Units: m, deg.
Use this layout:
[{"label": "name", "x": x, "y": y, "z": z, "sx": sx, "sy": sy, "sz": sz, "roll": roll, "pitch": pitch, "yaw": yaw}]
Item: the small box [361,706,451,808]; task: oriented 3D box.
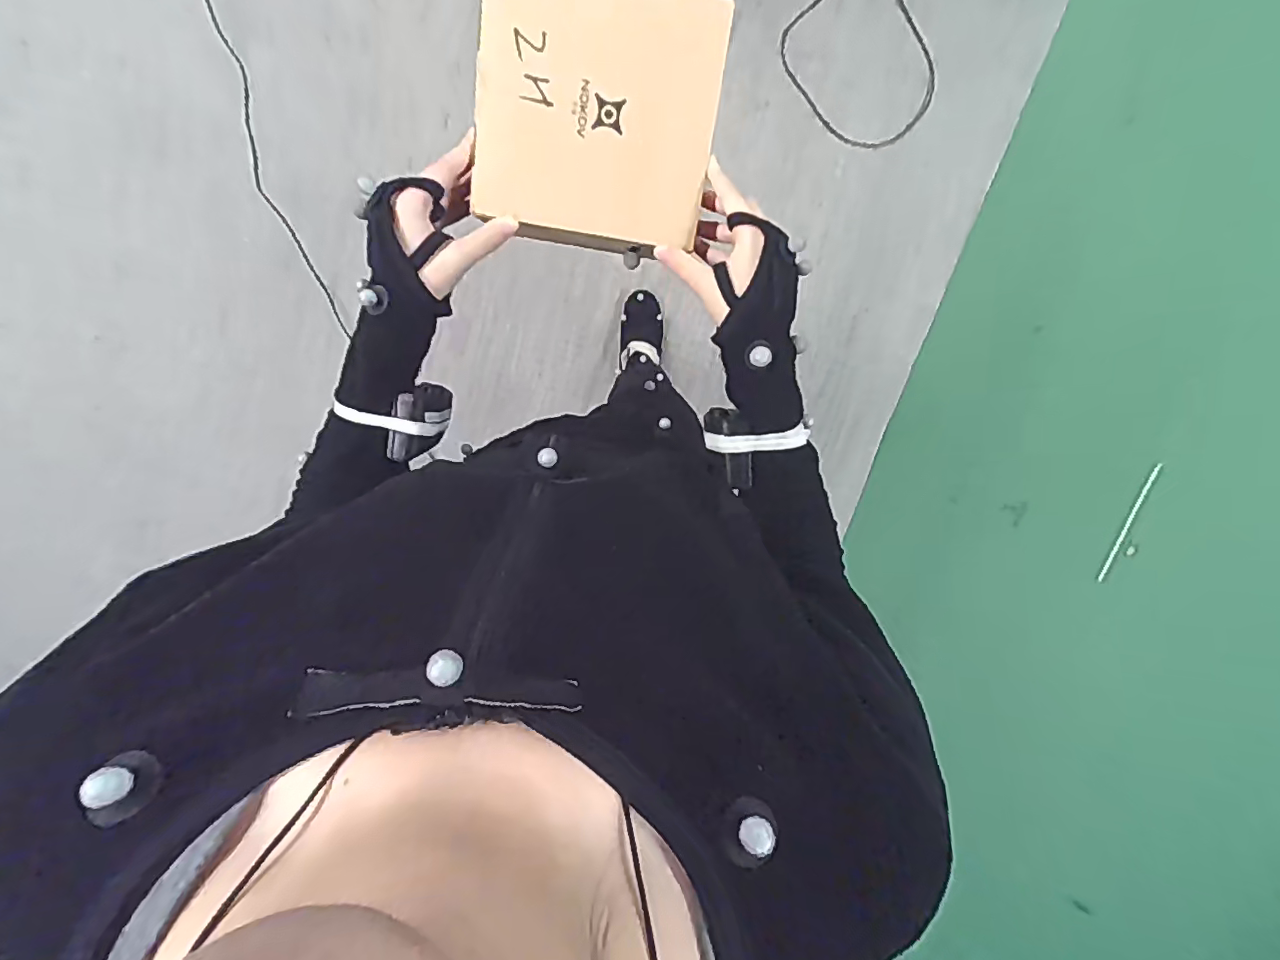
[{"label": "small box", "x": -0.667, "y": 0.793, "z": 1.561, "sx": 0.168, "sy": 0.176, "sz": 0.179, "roll": 19, "pitch": 99, "yaw": -5}]
